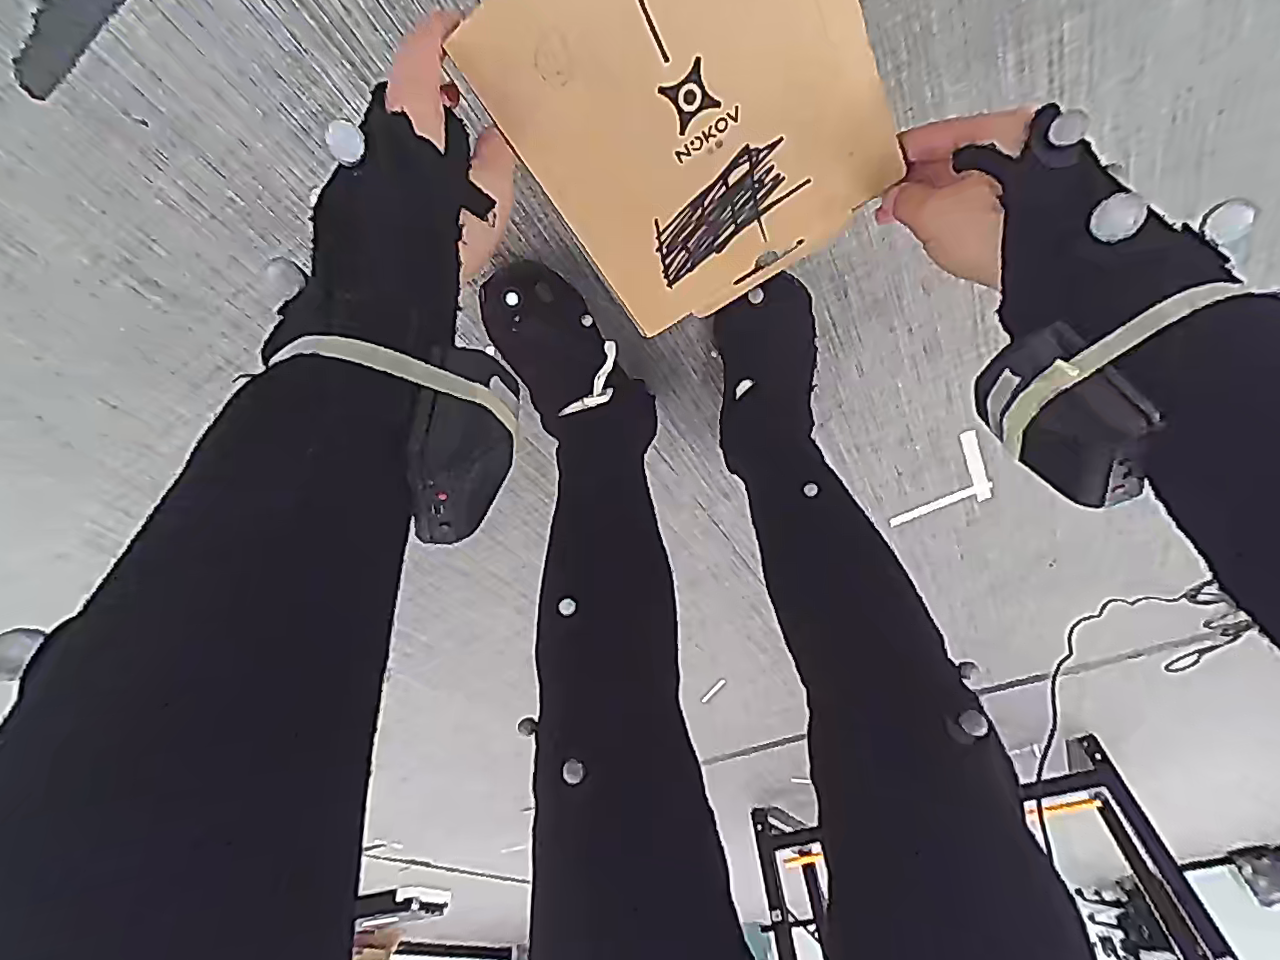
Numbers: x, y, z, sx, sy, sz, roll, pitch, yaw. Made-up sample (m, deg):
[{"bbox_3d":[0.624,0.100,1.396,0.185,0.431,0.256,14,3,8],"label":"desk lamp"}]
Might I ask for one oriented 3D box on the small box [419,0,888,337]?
[{"bbox_3d":[0.012,-0.226,0.316,0.168,0.176,0.179,-29,128,17],"label":"small box"}]
